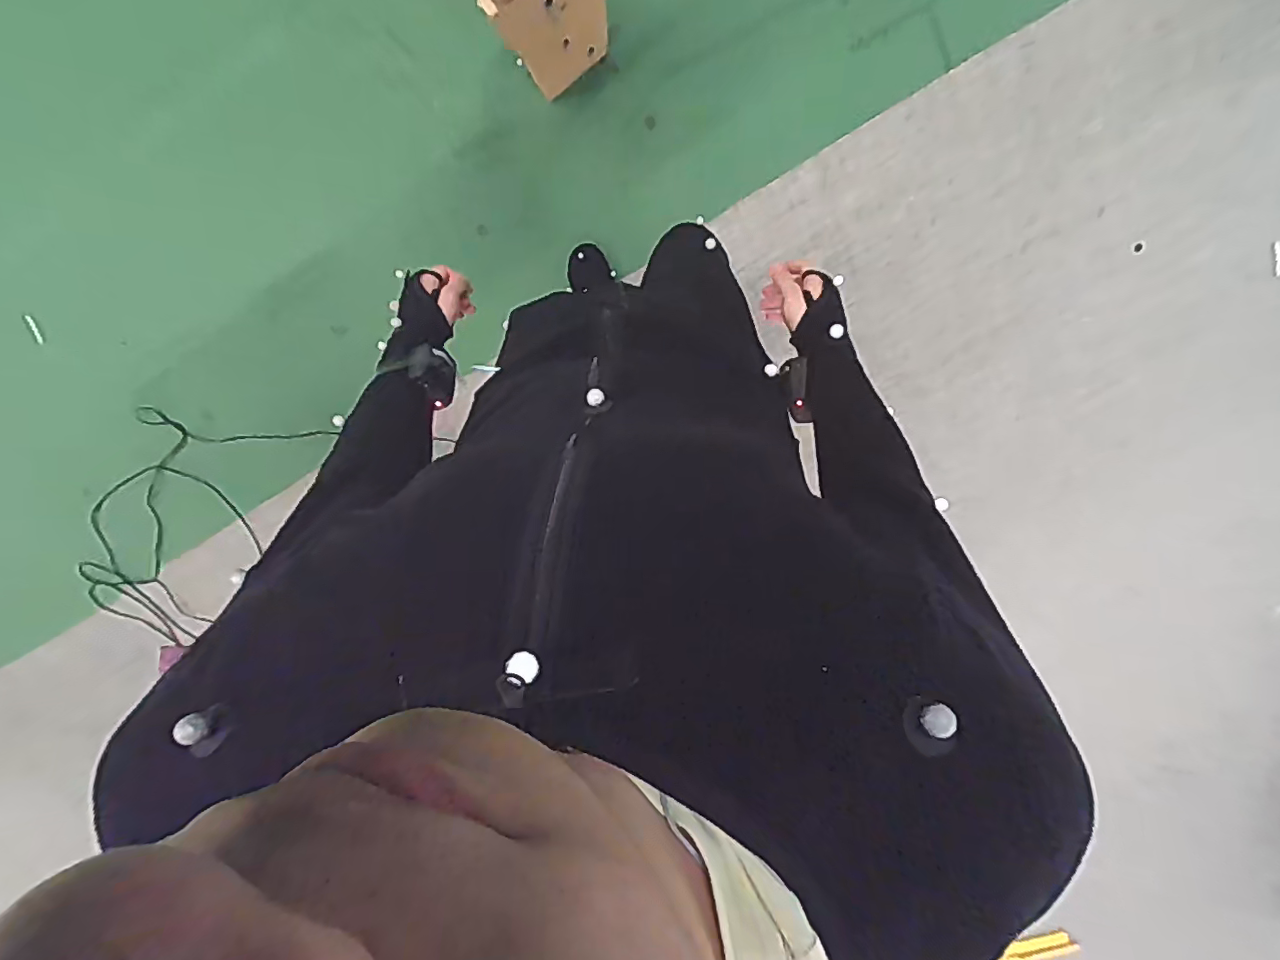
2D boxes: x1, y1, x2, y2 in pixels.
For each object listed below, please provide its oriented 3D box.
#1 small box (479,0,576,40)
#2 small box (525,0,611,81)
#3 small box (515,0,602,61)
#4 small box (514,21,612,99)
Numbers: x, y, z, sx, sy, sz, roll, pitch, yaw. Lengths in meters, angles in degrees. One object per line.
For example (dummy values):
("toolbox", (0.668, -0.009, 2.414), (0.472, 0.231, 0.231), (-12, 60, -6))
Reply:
("small box", (-0.172, -0.744, 0.733), (0.168, 0.176, 0.179), (-29, 114, 11))
("small box", (-0.171, -0.902, 1.019), (0.179, 0.176, 0.168), (-30, 113, 12))
("small box", (-0.170, -0.829, 0.873), (0.179, 0.176, 0.168), (-33, 113, 12))
("small box", (-0.178, -0.971, 1.166), (0.179, 0.176, 0.168), (-32, 112, 12))
